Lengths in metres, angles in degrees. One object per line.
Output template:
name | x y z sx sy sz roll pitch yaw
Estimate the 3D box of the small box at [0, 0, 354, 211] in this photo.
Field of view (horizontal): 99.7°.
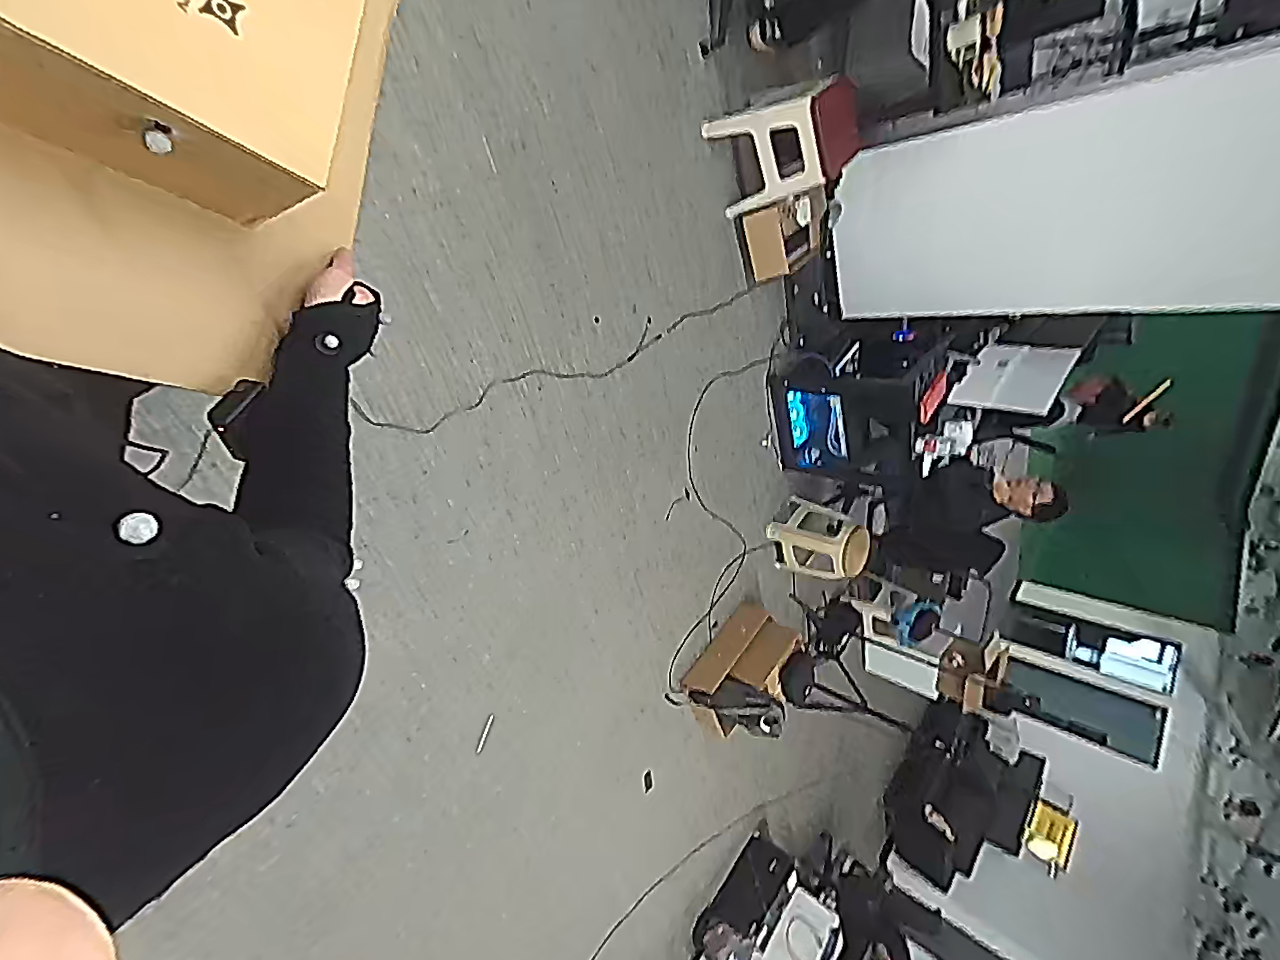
small box | -0.363 -0.335 0.422 0.179 0.176 0.168 12 87 -51
